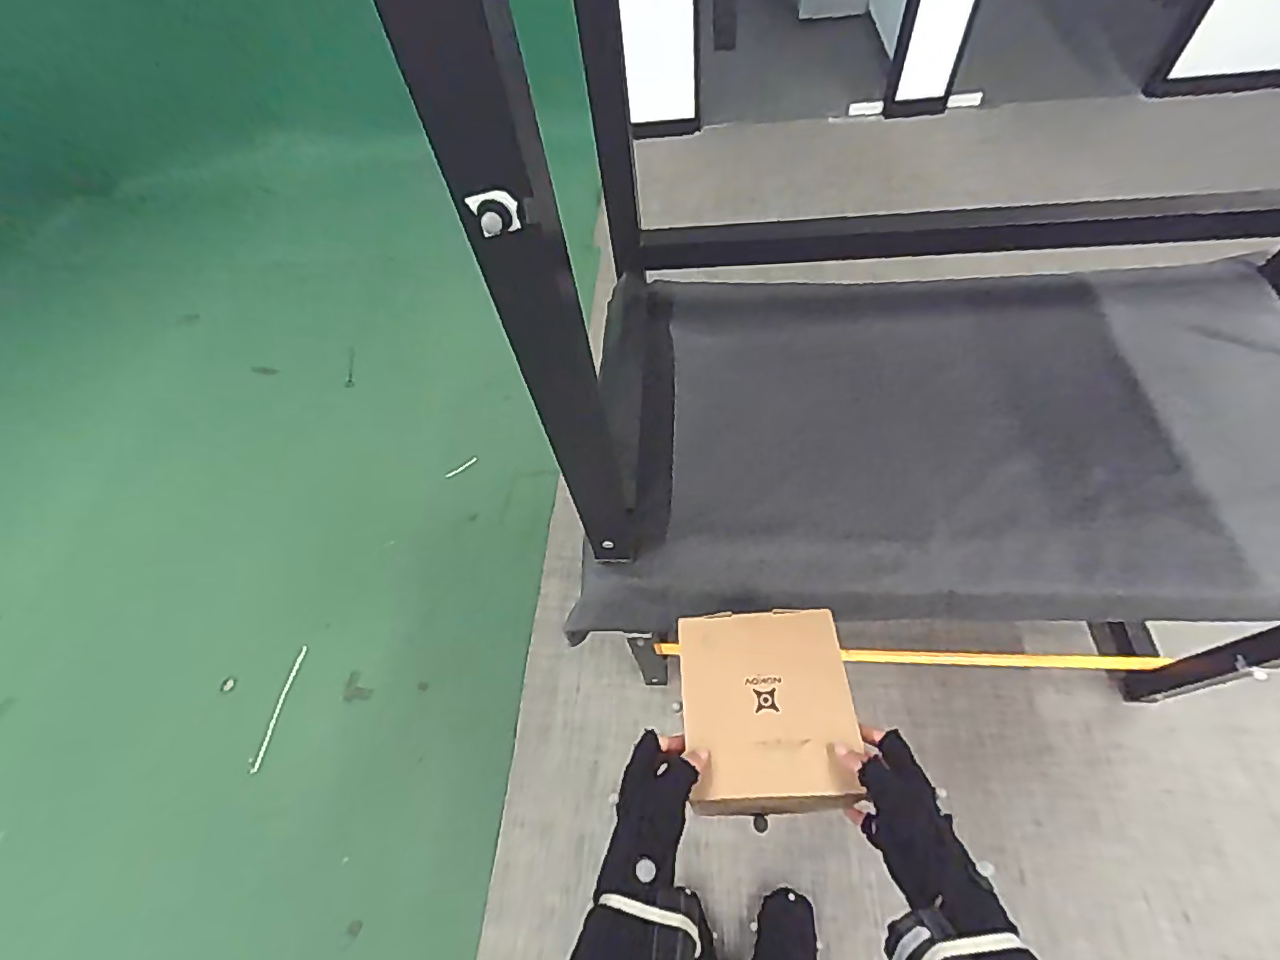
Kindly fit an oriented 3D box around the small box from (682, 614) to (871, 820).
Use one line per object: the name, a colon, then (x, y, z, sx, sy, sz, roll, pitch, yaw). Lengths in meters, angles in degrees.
small box: (0.137, 0.268, 0.605, 0.168, 0.176, 0.179, -6, 53, 6)
